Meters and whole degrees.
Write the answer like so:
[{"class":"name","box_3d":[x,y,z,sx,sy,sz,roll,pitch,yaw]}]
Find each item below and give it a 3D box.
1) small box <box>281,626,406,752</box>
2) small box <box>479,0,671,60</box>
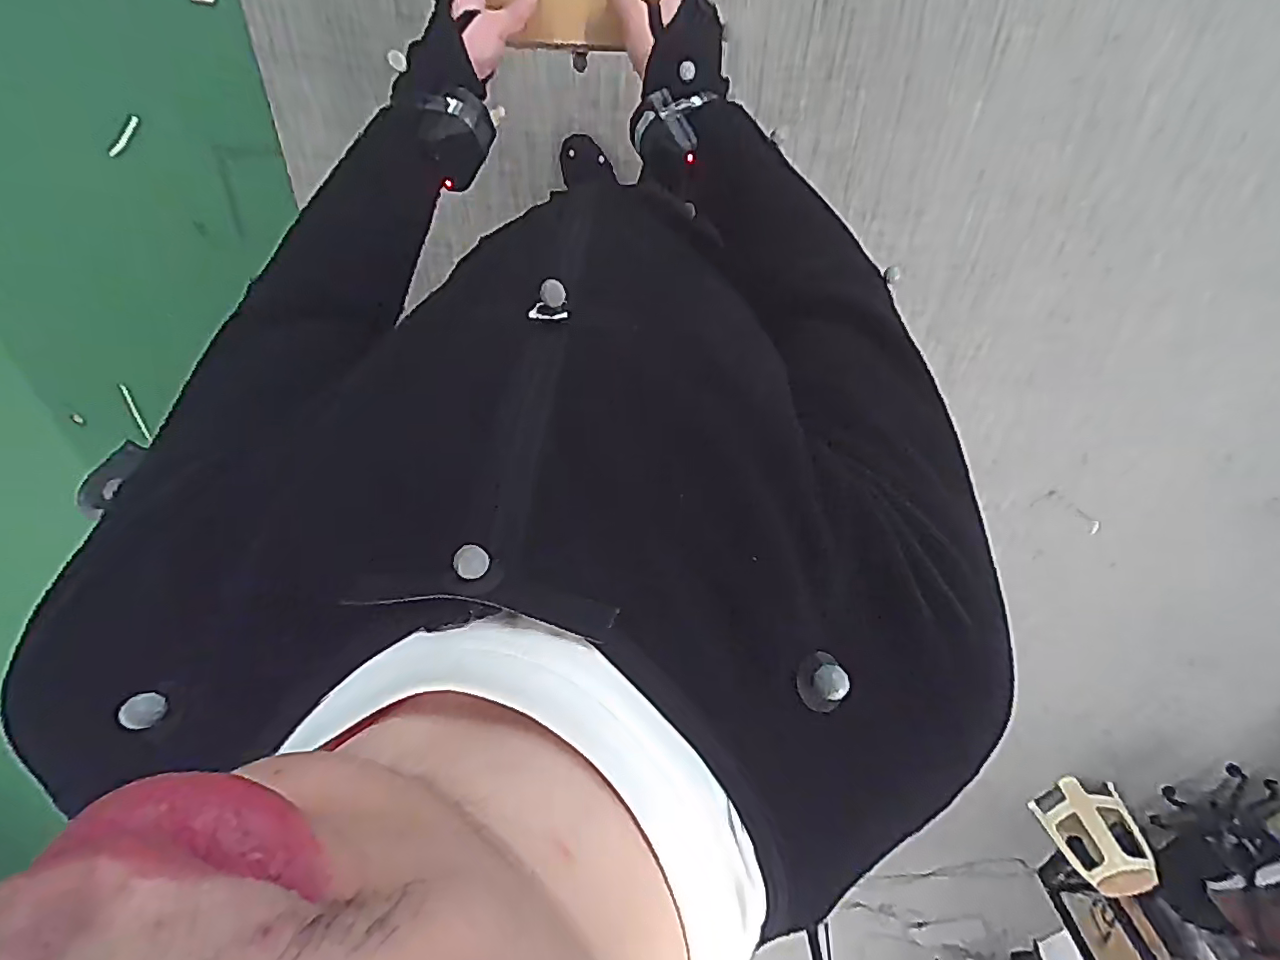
[{"class":"small box","box_3d":[-0.583,0.417,1.087,0.168,0.176,0.179,8,124,-7]},{"class":"small box","box_3d":[-0.050,-0.500,0.491,0.168,0.176,0.179,4,127,-1]}]
